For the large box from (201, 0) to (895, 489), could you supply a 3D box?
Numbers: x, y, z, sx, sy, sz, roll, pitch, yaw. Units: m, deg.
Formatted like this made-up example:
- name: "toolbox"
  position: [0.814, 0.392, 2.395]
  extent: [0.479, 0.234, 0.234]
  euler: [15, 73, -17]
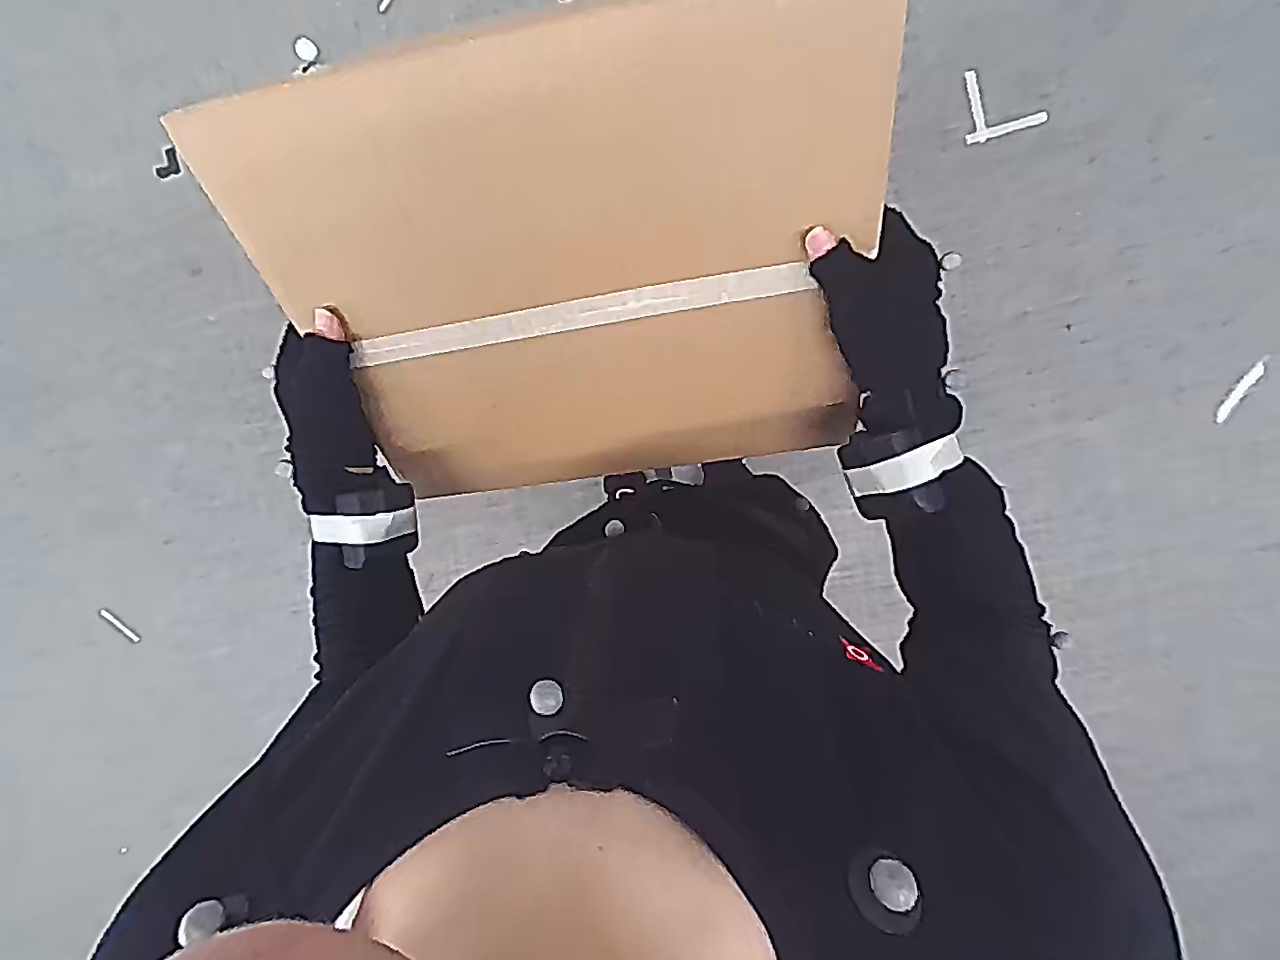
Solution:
- name: "large box"
  position: [-0.042, -0.228, 0.499]
  extent: [0.408, 0.320, 0.320]
  euler: [-7, 134, 7]
